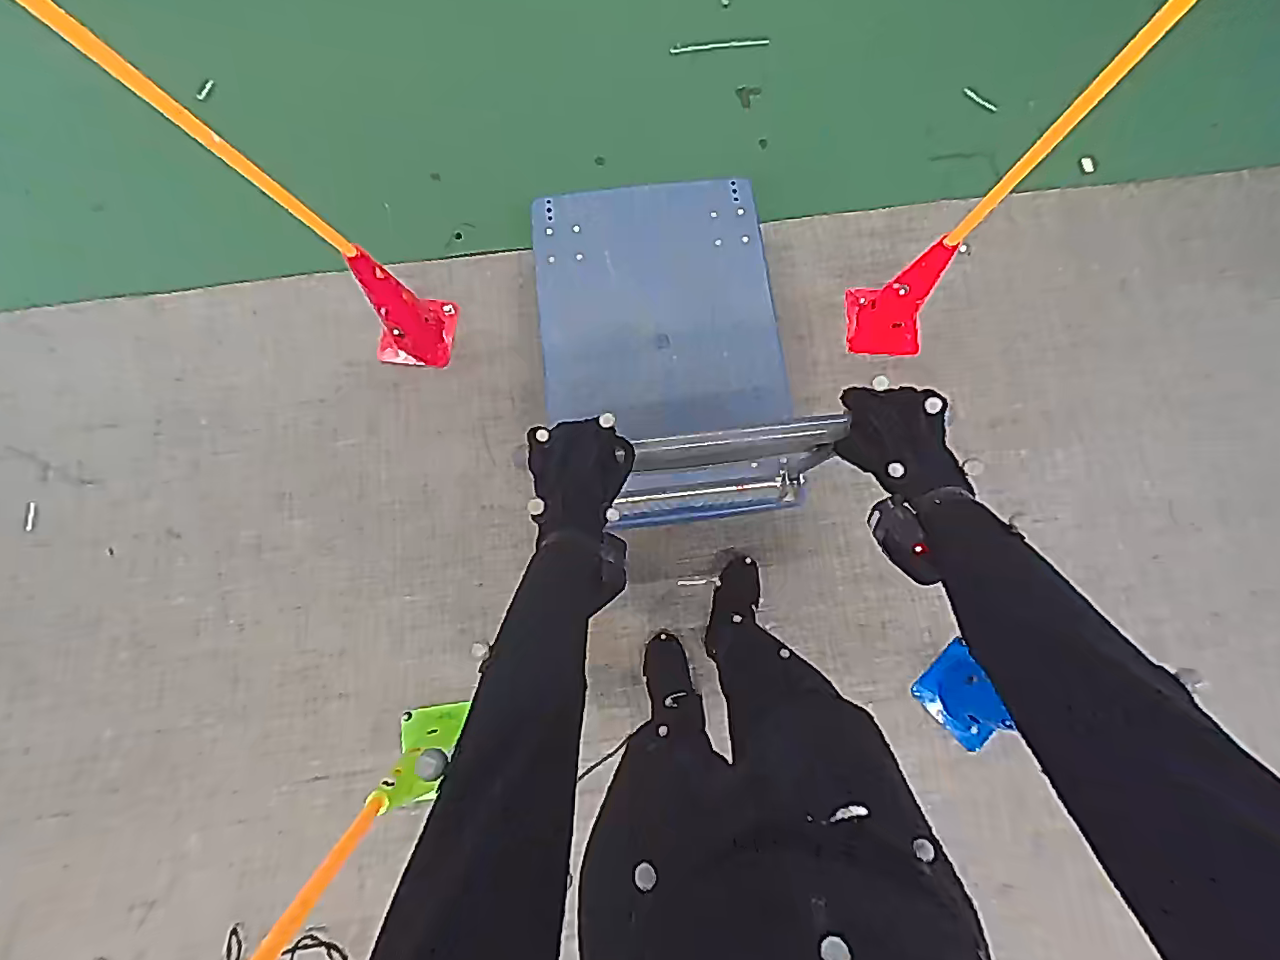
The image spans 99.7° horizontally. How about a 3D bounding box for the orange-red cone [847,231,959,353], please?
[{"bbox_3d":[0.670,-0.480,1.329,0.198,0.360,0.199,4,79,2],"label":"orange-red cone"}]
